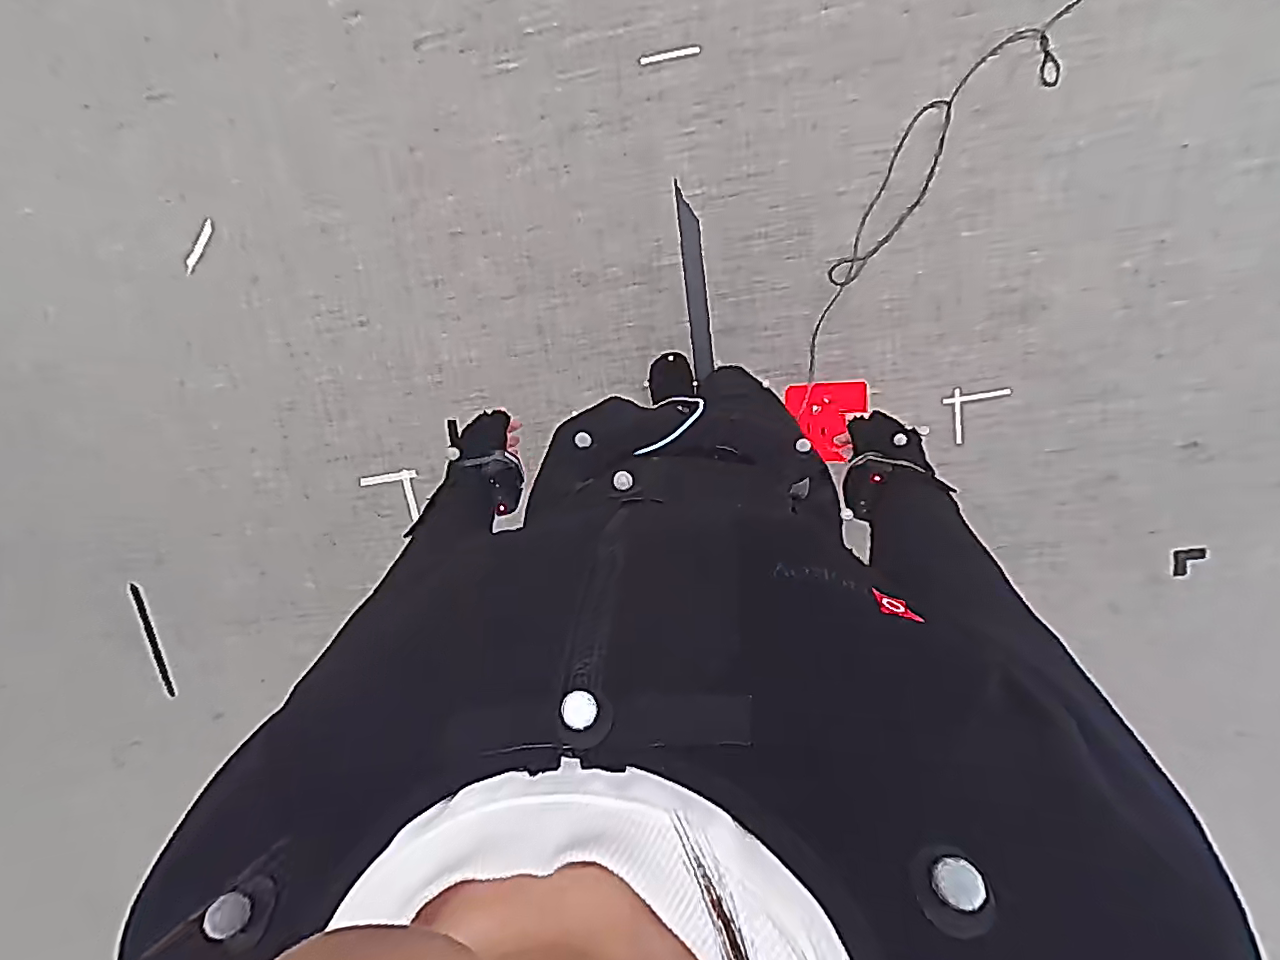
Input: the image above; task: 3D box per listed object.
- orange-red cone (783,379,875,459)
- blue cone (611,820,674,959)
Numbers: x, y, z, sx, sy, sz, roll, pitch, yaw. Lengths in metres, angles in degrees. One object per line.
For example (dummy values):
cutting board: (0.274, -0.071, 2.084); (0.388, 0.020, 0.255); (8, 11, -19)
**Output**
orange-red cone: (0.444, -0.112, 1.181); (0.199, 0.360, 0.198); (-2, 103, 6)
blue cone: (-0.014, 1.169, 1.515); (0.192, 0.380, 0.193); (-2, 101, 8)
